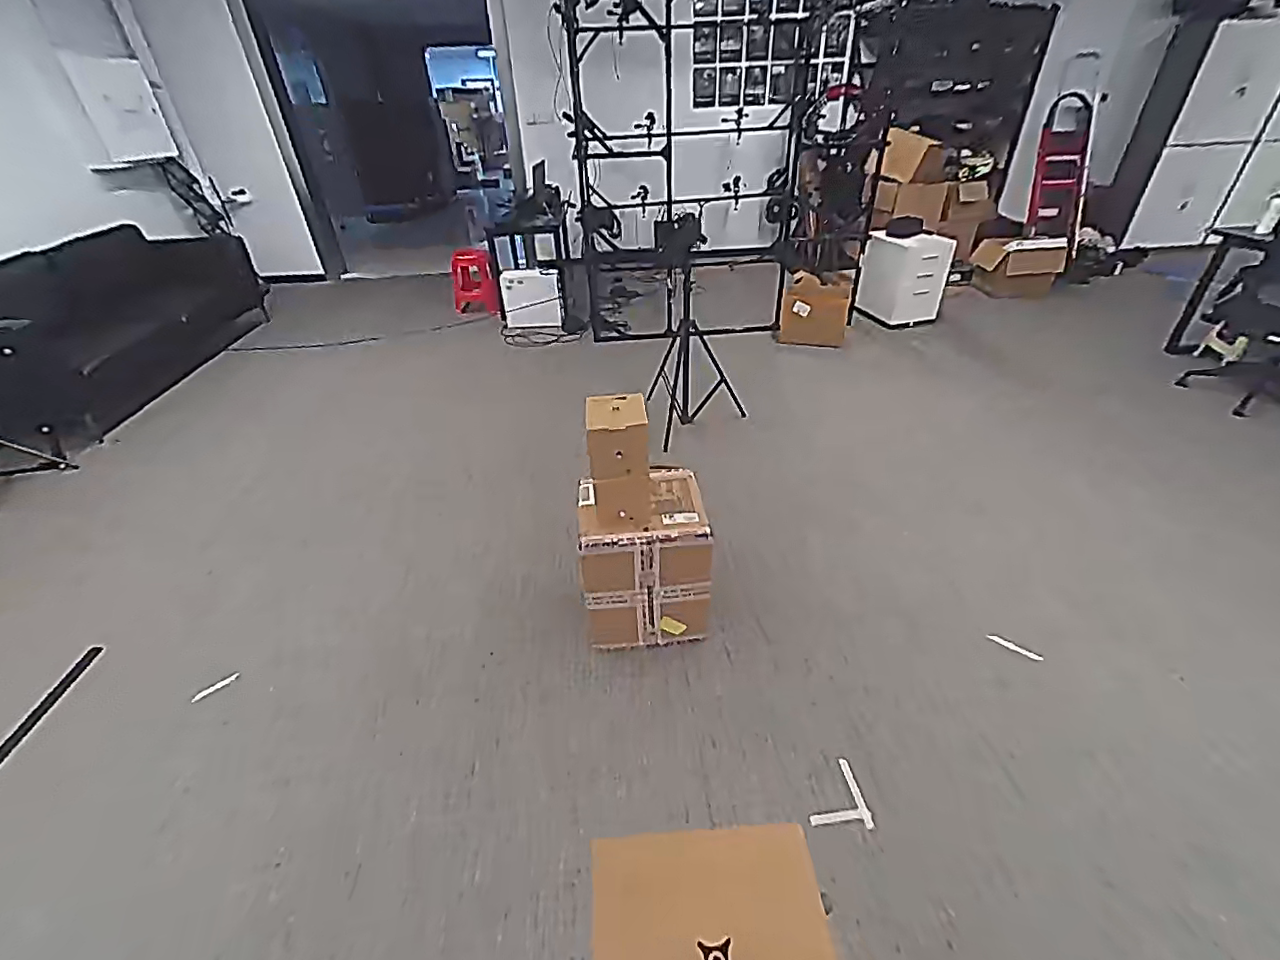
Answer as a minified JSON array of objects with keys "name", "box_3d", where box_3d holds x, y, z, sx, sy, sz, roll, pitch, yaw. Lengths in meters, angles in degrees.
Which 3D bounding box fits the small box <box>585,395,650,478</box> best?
[{"name":"small box","box_3d":[-0.062,-0.118,1.522,0.168,0.176,0.179,-5,38,-2]}]

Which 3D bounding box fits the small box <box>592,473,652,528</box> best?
[{"name":"small box","box_3d":[-0.057,0.020,1.611,0.168,0.176,0.179,-6,39,-3]}]
